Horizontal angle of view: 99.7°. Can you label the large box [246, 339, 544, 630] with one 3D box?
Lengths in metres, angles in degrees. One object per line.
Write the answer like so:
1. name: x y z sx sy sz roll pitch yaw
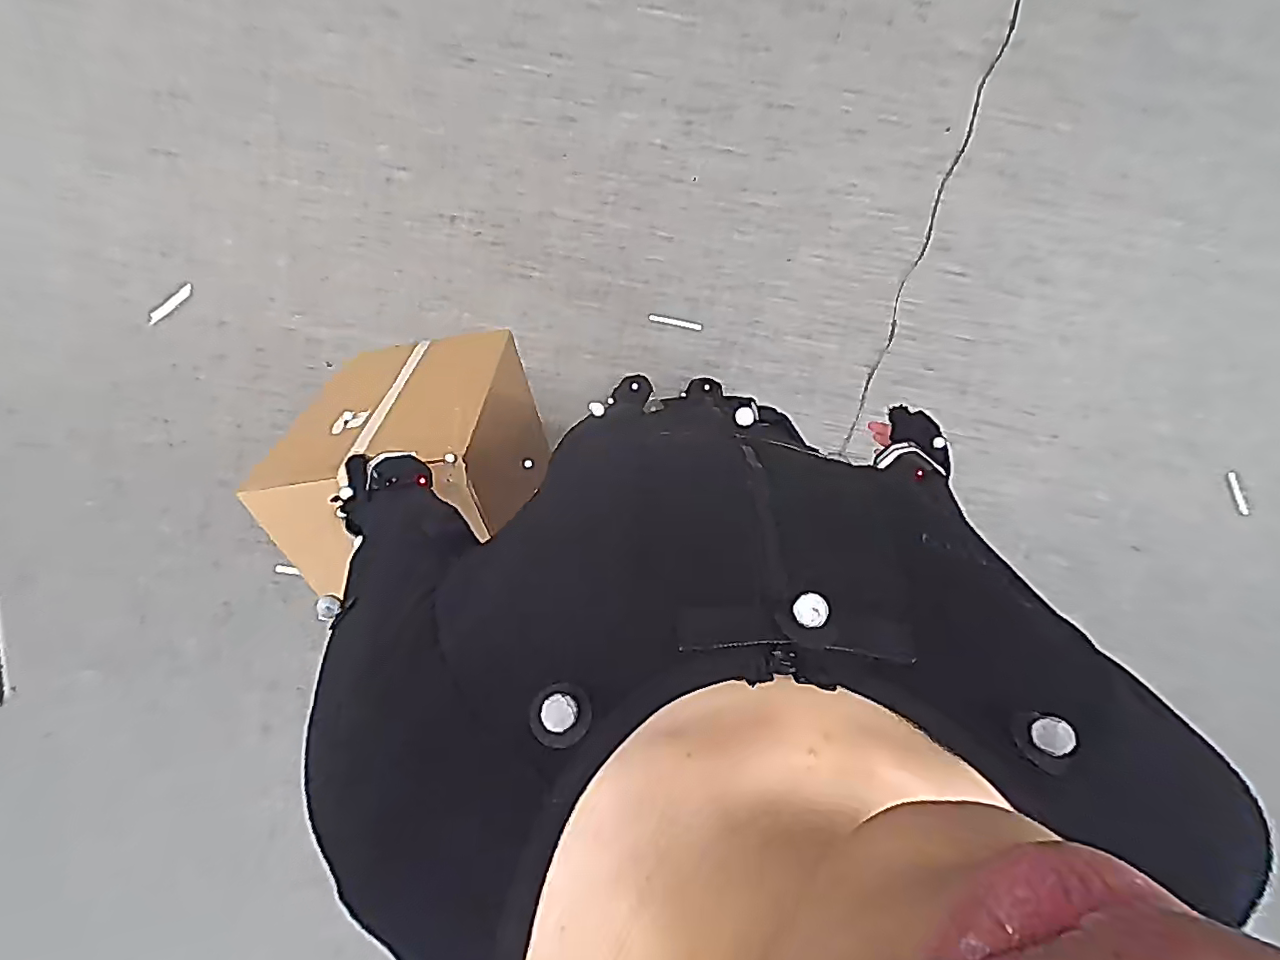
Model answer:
1. large box: -0.367 -0.004 0.956 0.320 0.408 0.320 -9 129 4
